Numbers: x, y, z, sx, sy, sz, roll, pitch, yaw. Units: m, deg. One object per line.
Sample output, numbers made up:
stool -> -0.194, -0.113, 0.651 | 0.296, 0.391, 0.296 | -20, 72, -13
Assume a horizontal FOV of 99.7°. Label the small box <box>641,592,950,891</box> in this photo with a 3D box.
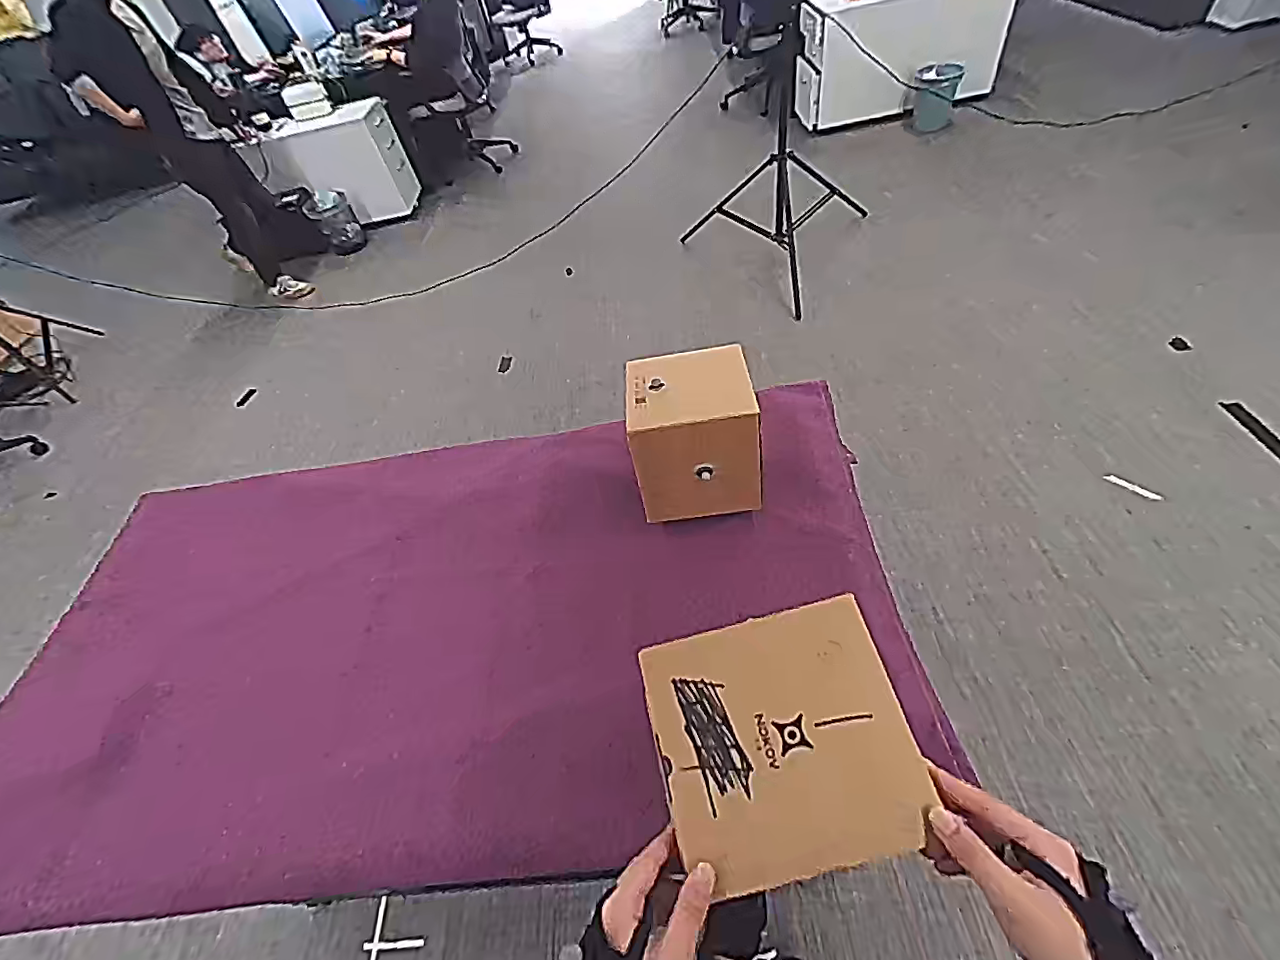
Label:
small box -> 0.115, 0.213, 0.454 | 0.179, 0.176, 0.168 | -16, 62, 4
